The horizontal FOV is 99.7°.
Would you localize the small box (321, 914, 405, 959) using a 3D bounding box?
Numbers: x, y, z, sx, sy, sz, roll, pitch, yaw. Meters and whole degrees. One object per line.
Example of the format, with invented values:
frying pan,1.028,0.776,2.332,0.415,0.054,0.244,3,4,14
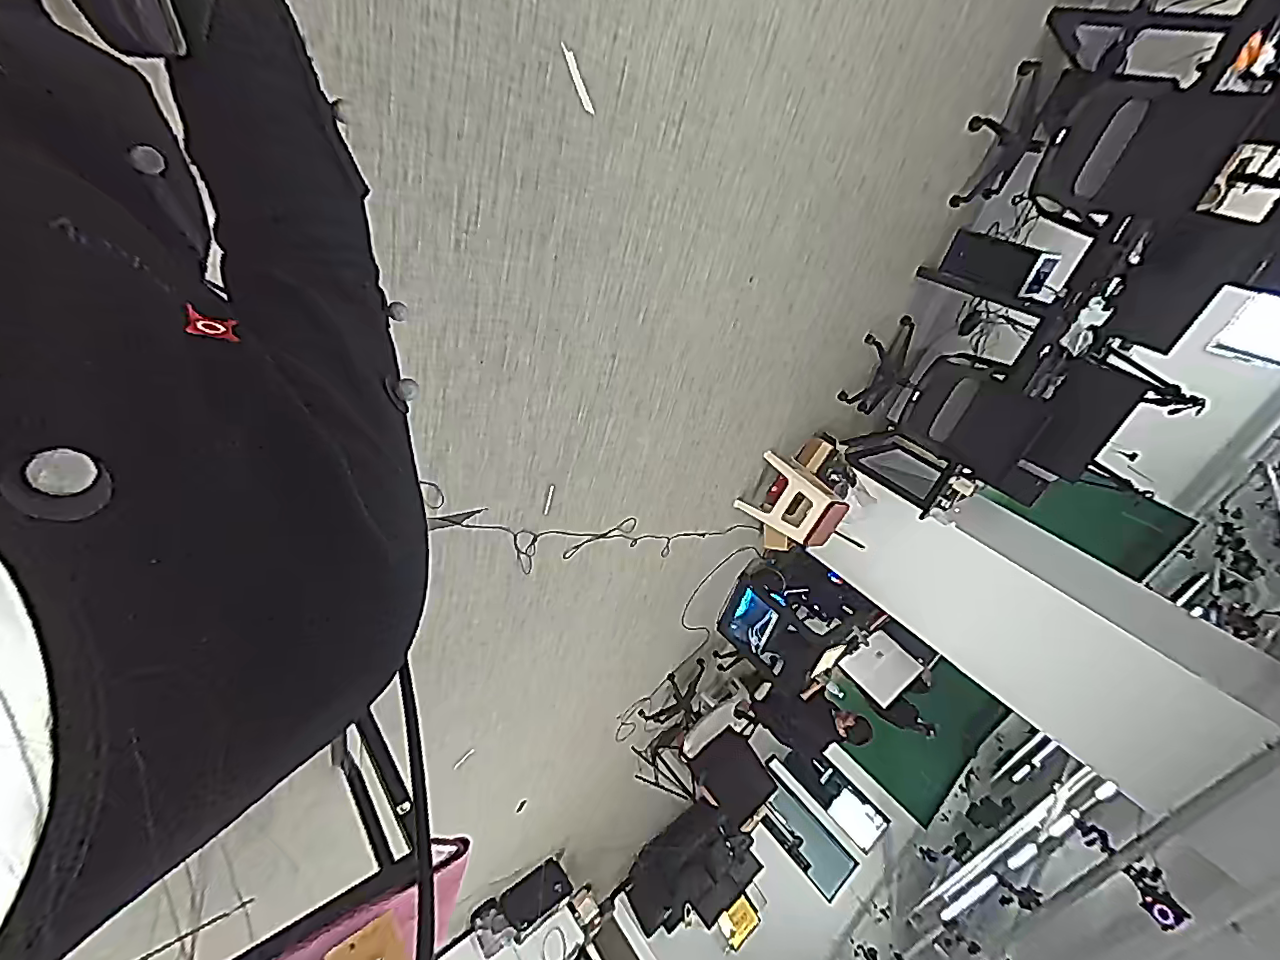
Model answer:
small box,-0.718,1.295,1.416,0.168,0.176,0.179,-18,135,-38
